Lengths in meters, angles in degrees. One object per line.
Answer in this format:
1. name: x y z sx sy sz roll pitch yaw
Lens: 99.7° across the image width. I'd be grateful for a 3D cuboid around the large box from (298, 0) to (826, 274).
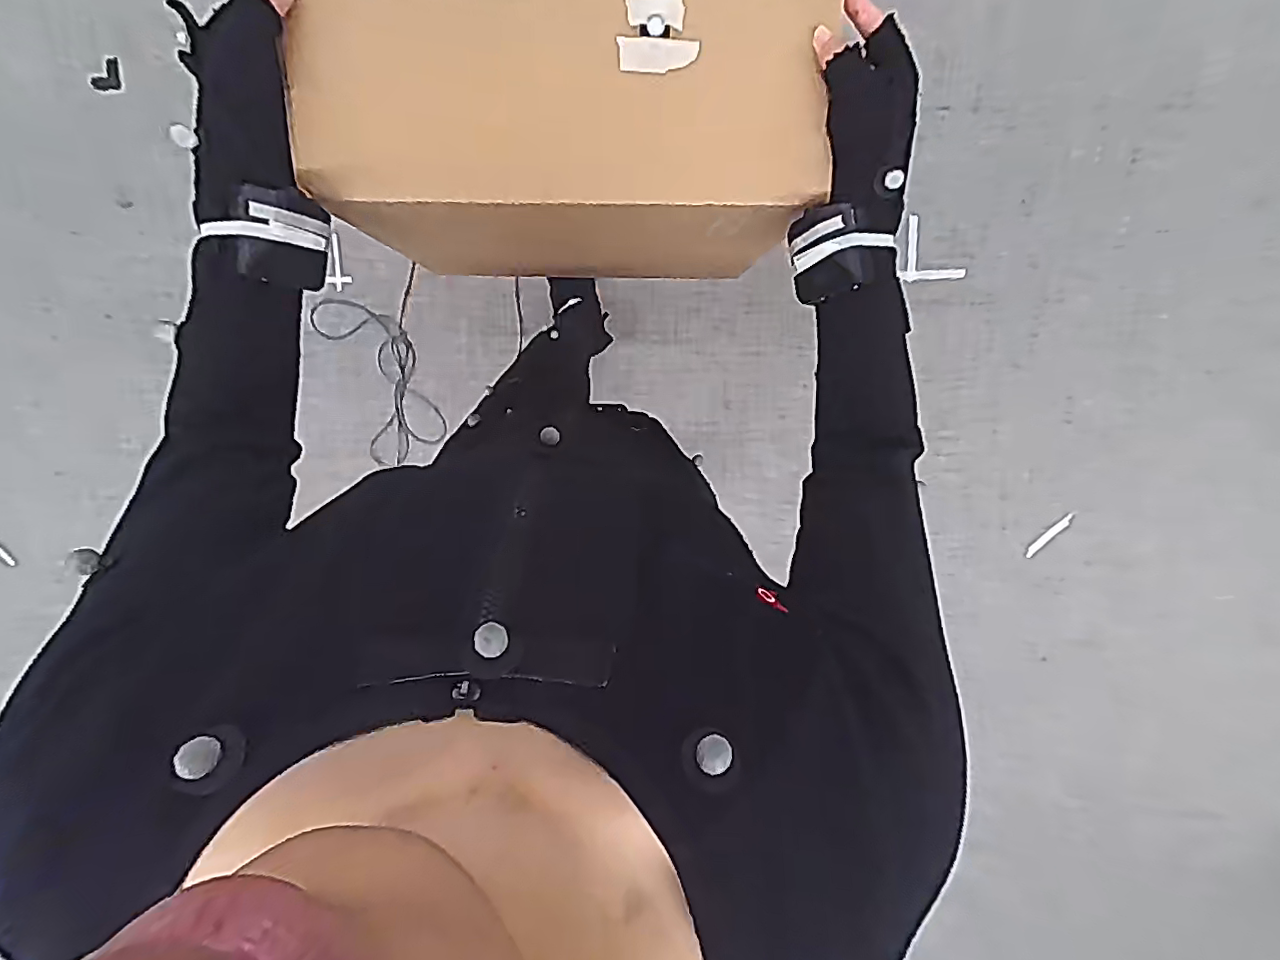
1. large box: -0.063 -0.403 0.550 0.408 0.320 0.320 -1 101 -3
